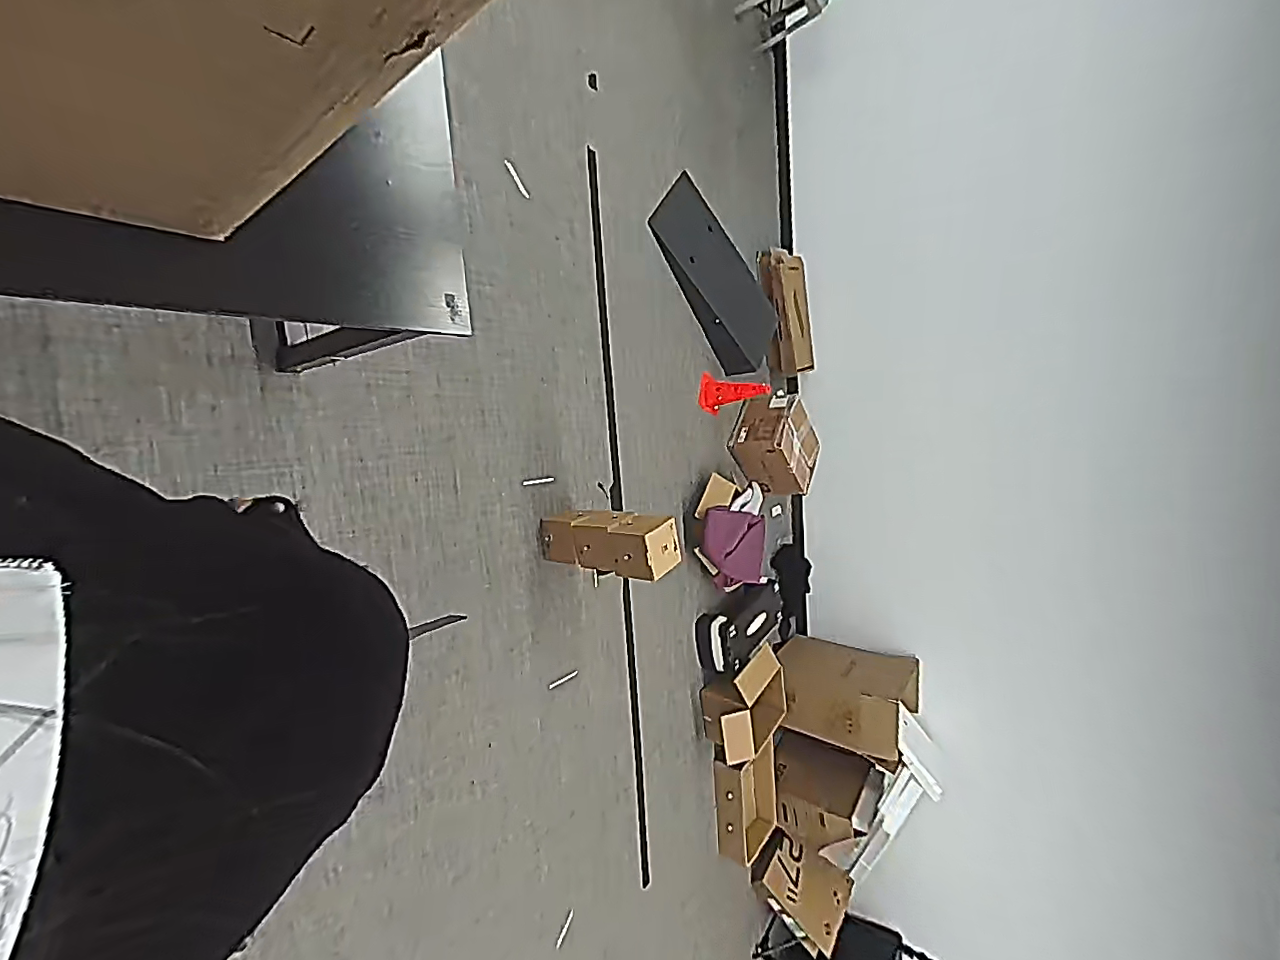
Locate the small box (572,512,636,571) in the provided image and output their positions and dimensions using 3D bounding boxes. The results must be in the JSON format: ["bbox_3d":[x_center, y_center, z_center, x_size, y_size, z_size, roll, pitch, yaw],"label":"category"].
[{"bbox_3d":[-0.120,0.217,1.966,0.179,0.176,0.168,-23,107,-50],"label":"small box"}]

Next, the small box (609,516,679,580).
[{"bbox_3d":[0.008,0.230,1.863,0.179,0.176,0.168,-26,110,-49],"label":"small box"}]

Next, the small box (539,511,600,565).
[{"bbox_3d":[-0.258,0.215,2.057,0.179,0.176,0.168,-16,102,-50],"label":"small box"}]
